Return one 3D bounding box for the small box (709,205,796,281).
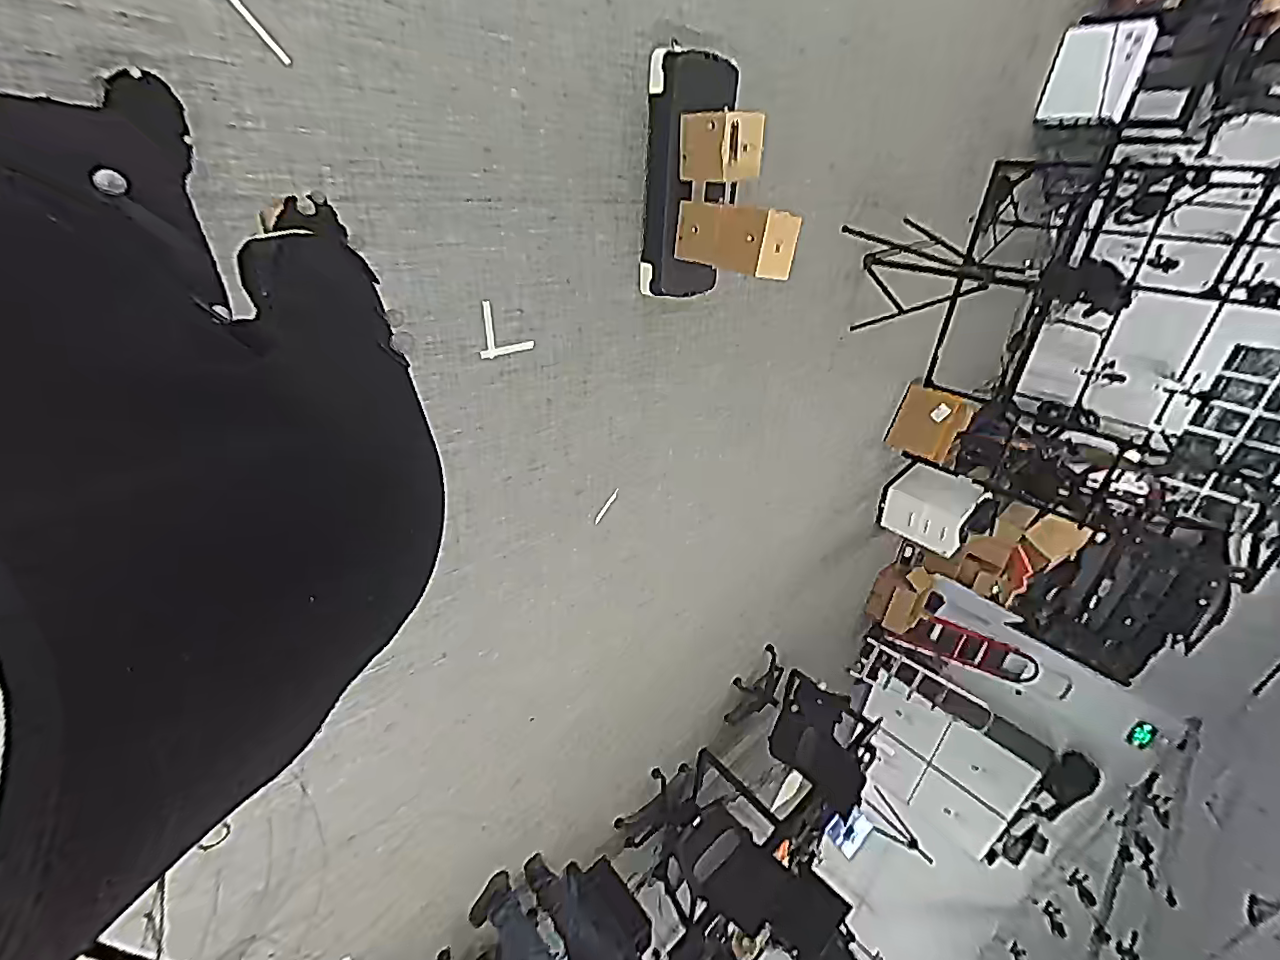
[{"bbox_3d":[0.324,-0.697,1.592,0.168,0.176,0.179,-14,122,-41],"label":"small box"}]

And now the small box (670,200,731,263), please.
[{"bbox_3d":[0.216,-0.772,1.689,0.179,0.176,0.168,-18,126,-40],"label":"small box"}]
